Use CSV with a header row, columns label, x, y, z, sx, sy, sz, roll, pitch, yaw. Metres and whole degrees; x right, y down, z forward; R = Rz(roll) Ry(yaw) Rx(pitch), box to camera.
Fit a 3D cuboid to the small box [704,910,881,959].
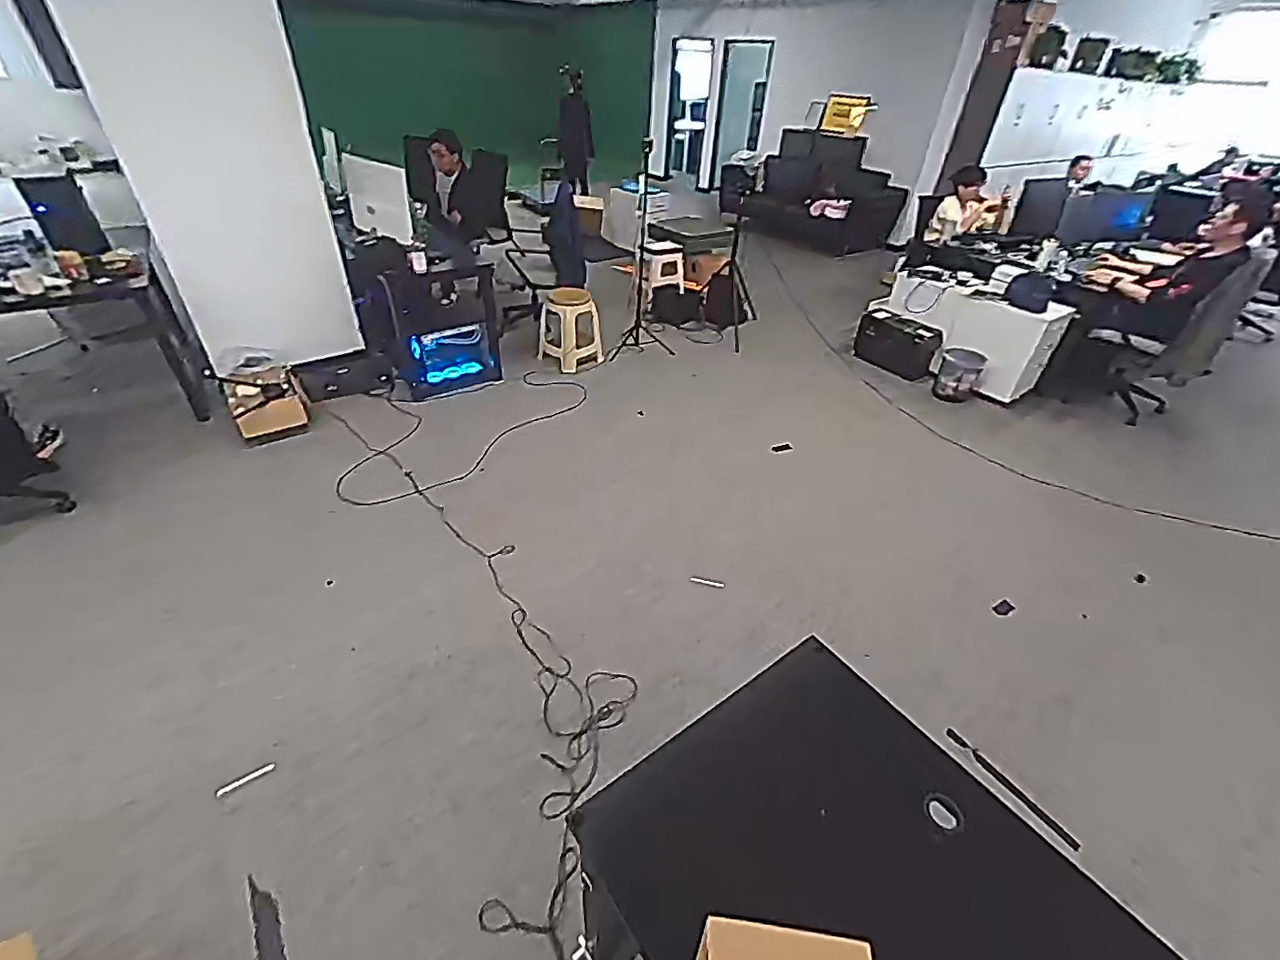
label,x,y,z,sx,sy,sz,roll,pitch,yaw
small box,0.151,0.585,0.553,0.179,0.176,0.168,5,31,5
